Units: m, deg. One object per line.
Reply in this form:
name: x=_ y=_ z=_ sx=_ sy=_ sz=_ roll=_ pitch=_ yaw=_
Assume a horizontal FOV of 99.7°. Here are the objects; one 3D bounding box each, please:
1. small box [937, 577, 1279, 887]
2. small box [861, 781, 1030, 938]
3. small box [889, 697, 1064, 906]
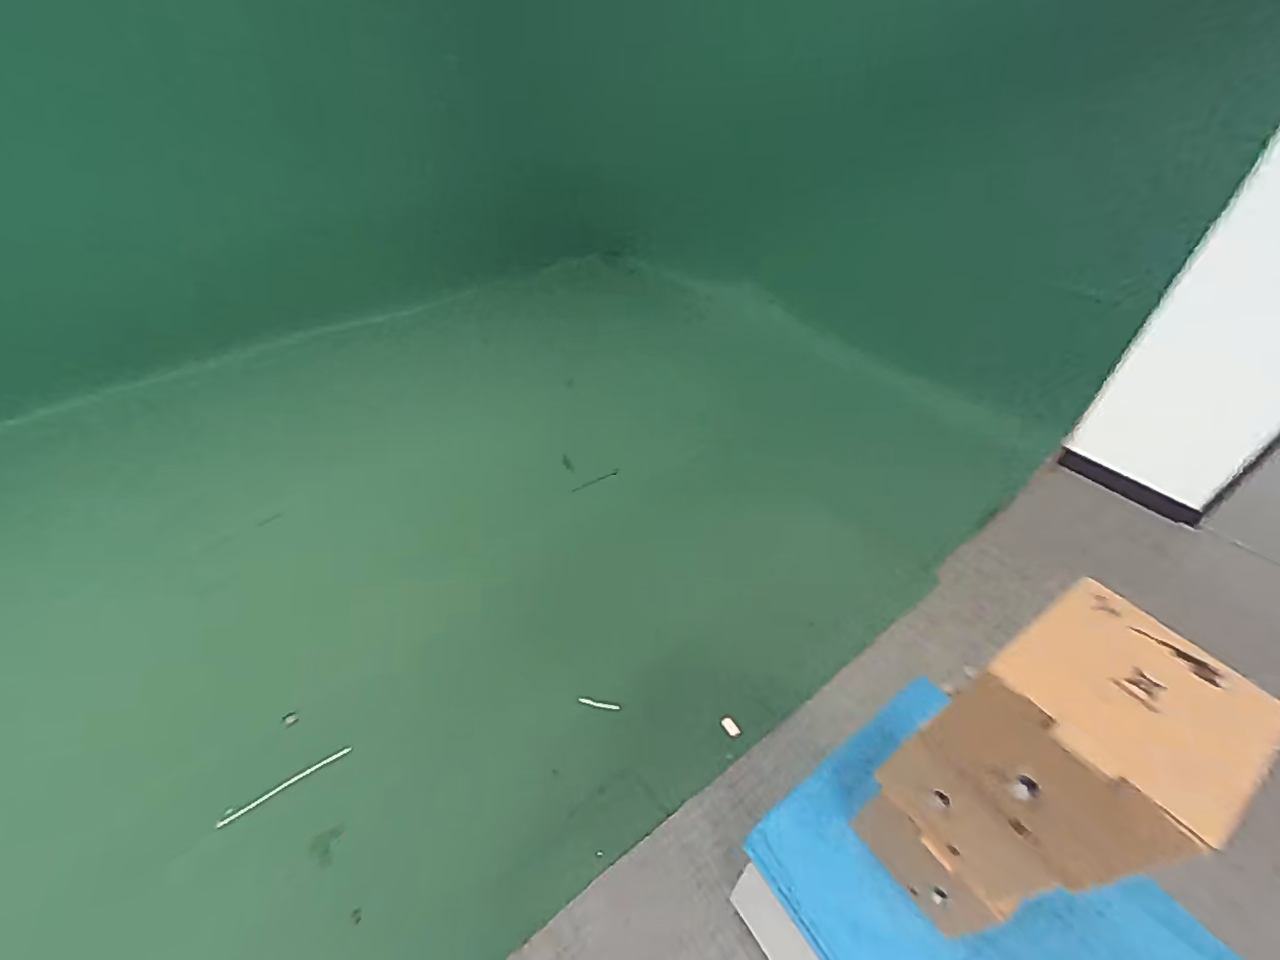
small box: x=0.411 y=0.230 z=0.499 sx=0.179 sy=0.176 sz=0.168 roll=-24 pitch=49 yaw=-23
small box: x=0.423 y=0.465 z=0.724 sx=0.179 sy=0.176 sz=0.168 roll=-24 pitch=49 yaw=-24
small box: x=0.416 y=0.341 z=0.620 sx=0.179 sy=0.176 sz=0.168 roll=-23 pitch=49 yaw=-23
